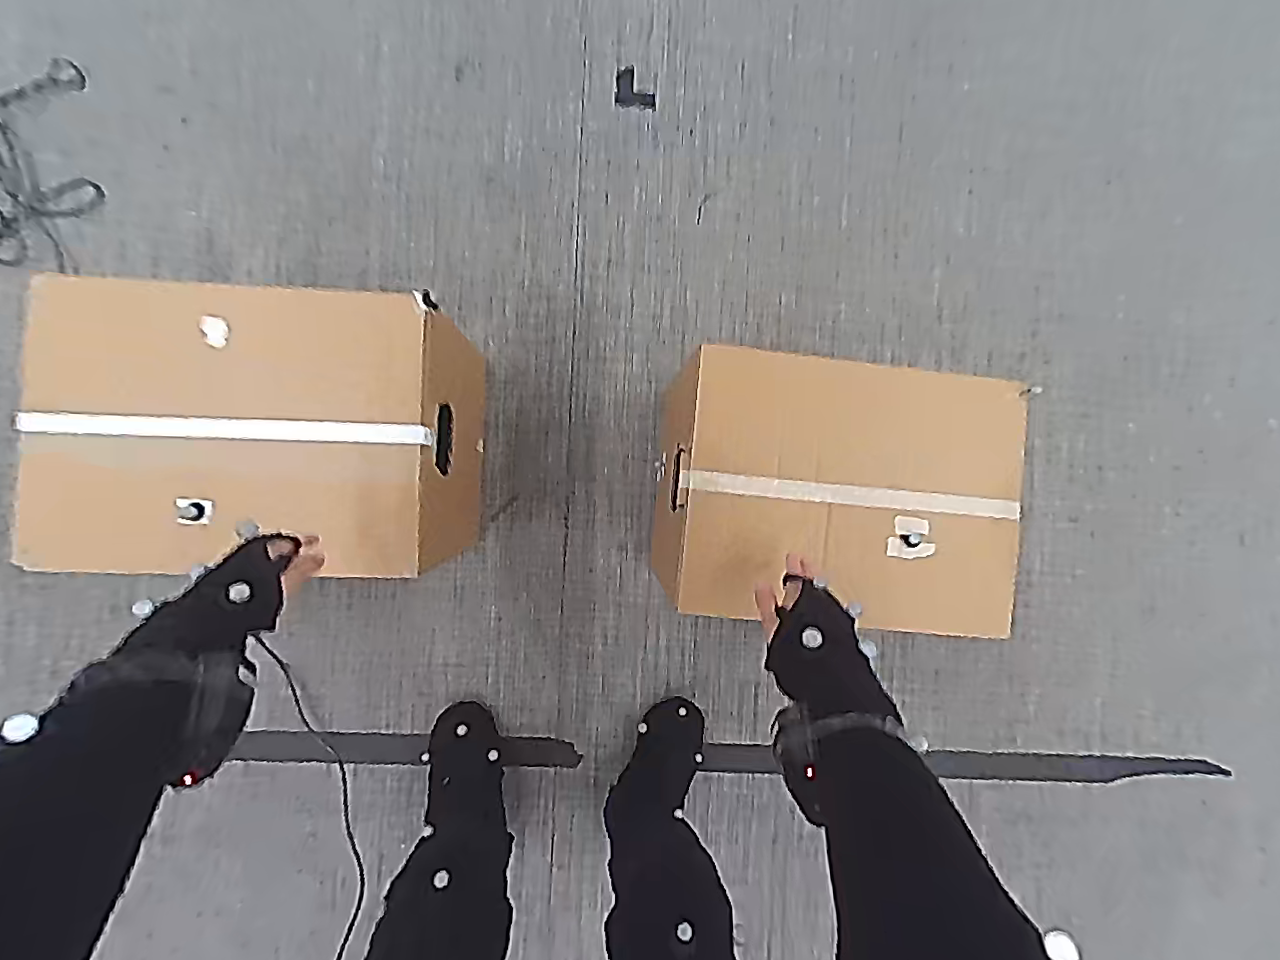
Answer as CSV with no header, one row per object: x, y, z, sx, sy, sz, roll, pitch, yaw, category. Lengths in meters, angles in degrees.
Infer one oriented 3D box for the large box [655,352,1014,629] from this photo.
0.244,0.020,0.802,0.408,0.320,0.320,6,89,-5,large box
